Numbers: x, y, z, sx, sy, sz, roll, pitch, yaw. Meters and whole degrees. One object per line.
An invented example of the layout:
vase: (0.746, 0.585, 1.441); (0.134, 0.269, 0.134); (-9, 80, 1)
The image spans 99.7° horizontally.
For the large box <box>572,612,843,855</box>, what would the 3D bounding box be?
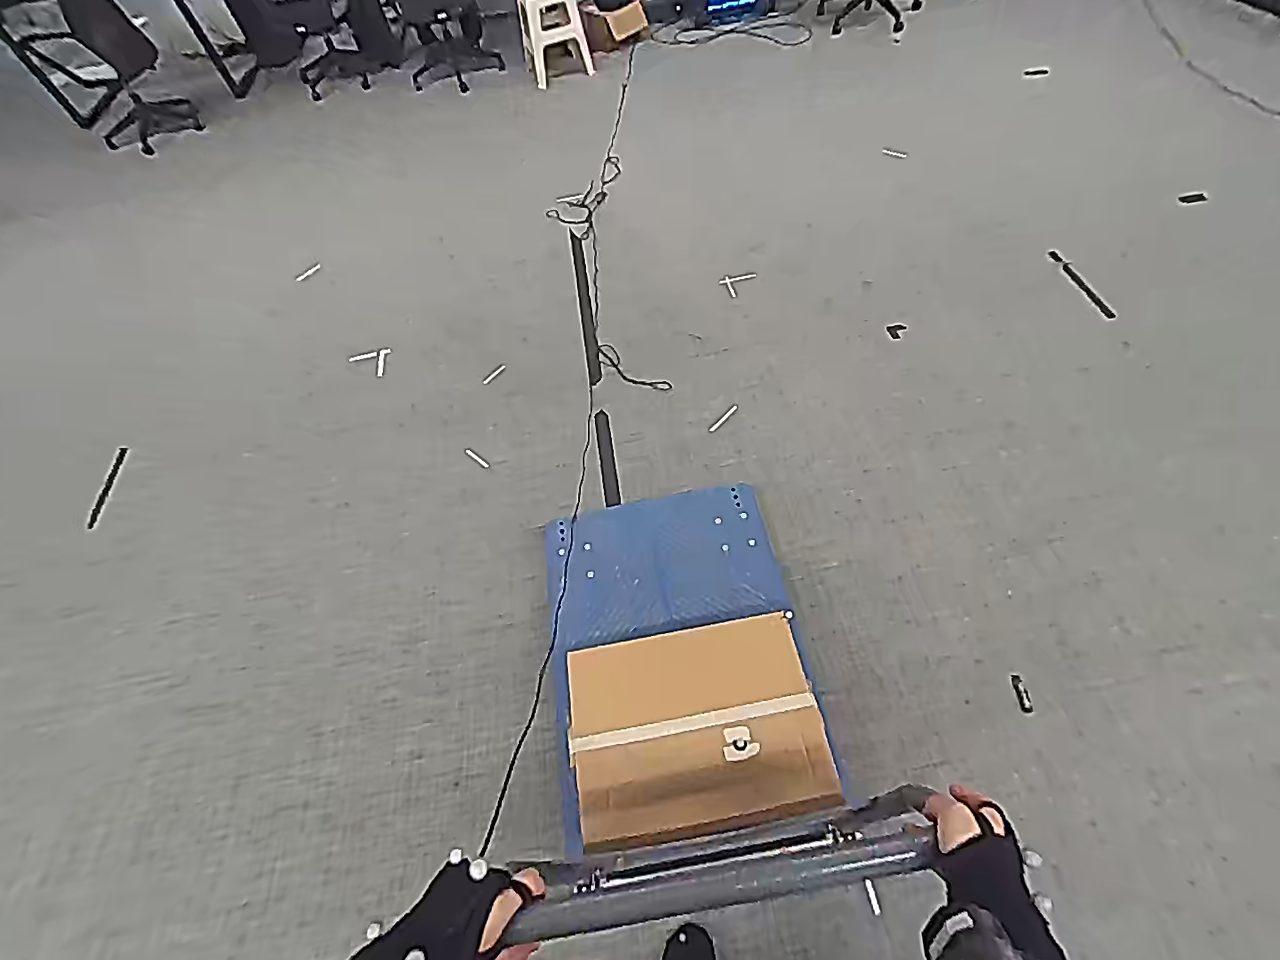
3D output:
large box: (0.107, 0.488, 1.025); (0.408, 0.320, 0.320); (-11, 56, 0)
